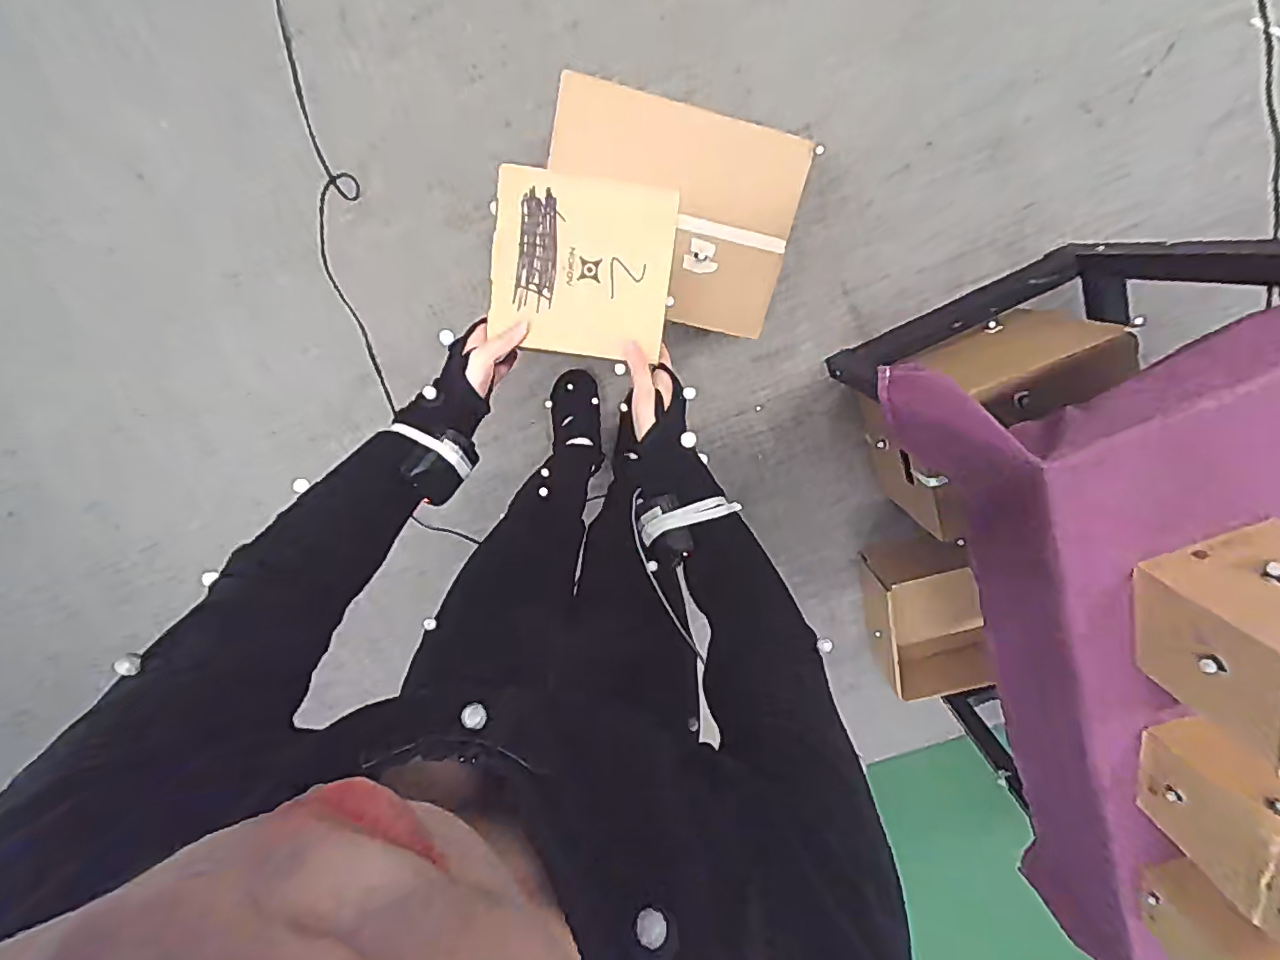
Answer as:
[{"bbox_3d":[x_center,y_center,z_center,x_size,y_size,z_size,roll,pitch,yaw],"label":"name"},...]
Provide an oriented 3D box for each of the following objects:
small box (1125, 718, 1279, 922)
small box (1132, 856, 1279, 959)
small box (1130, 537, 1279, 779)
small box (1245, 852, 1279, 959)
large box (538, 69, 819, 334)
[{"bbox_3d":[0.810,0.433,0.718,0.179,0.176,0.168,-16,113,5],"label":"small box"},{"bbox_3d":[0.918,0.710,0.840,0.179,0.176,0.168,-21,113,6],"label":"small box"},{"bbox_3d":[0.697,0.183,0.602,0.168,0.176,0.179,-20,112,7],"label":"small box"},{"bbox_3d":[0.824,0.498,0.567,0.179,0.176,0.168,-15,113,4],"label":"small box"},{"bbox_3d":[0.045,-0.487,1.004,0.408,0.320,0.320,11,113,-8],"label":"large box"}]
